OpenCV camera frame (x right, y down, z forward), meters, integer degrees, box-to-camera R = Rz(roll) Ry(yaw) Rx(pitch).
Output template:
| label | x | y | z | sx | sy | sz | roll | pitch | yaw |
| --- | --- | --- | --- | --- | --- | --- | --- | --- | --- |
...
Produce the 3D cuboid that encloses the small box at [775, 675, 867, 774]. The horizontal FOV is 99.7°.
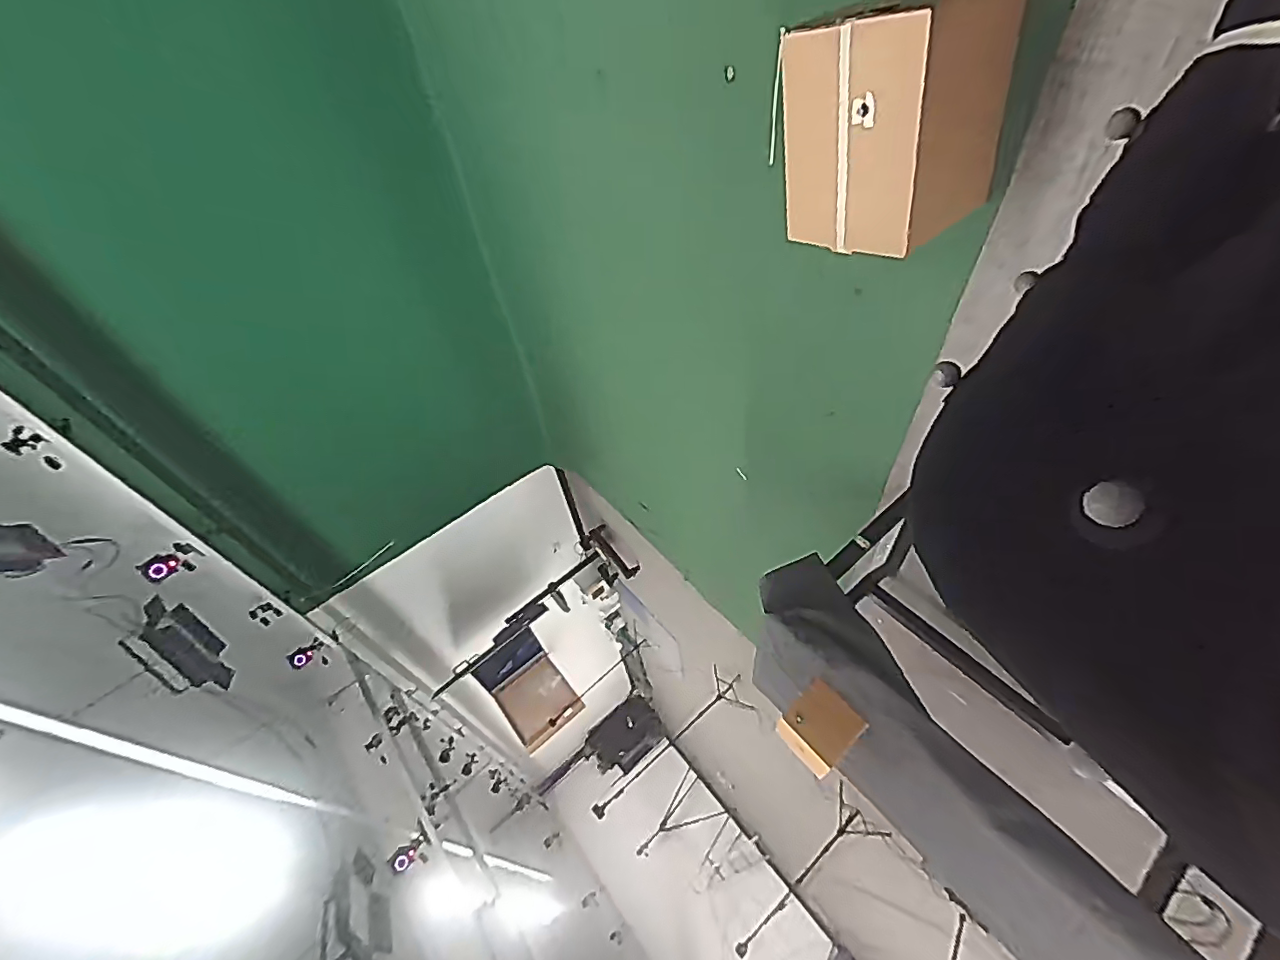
| label | x | y | z | sx | sy | sz | roll | pitch | yaw |
| --- | --- | --- | --- | --- | --- | --- | --- | --- | --- |
| small box | 0.515 | 0.695 | 1.542 | 0.179 | 0.176 | 0.168 | 43 | 157 | 31 |
